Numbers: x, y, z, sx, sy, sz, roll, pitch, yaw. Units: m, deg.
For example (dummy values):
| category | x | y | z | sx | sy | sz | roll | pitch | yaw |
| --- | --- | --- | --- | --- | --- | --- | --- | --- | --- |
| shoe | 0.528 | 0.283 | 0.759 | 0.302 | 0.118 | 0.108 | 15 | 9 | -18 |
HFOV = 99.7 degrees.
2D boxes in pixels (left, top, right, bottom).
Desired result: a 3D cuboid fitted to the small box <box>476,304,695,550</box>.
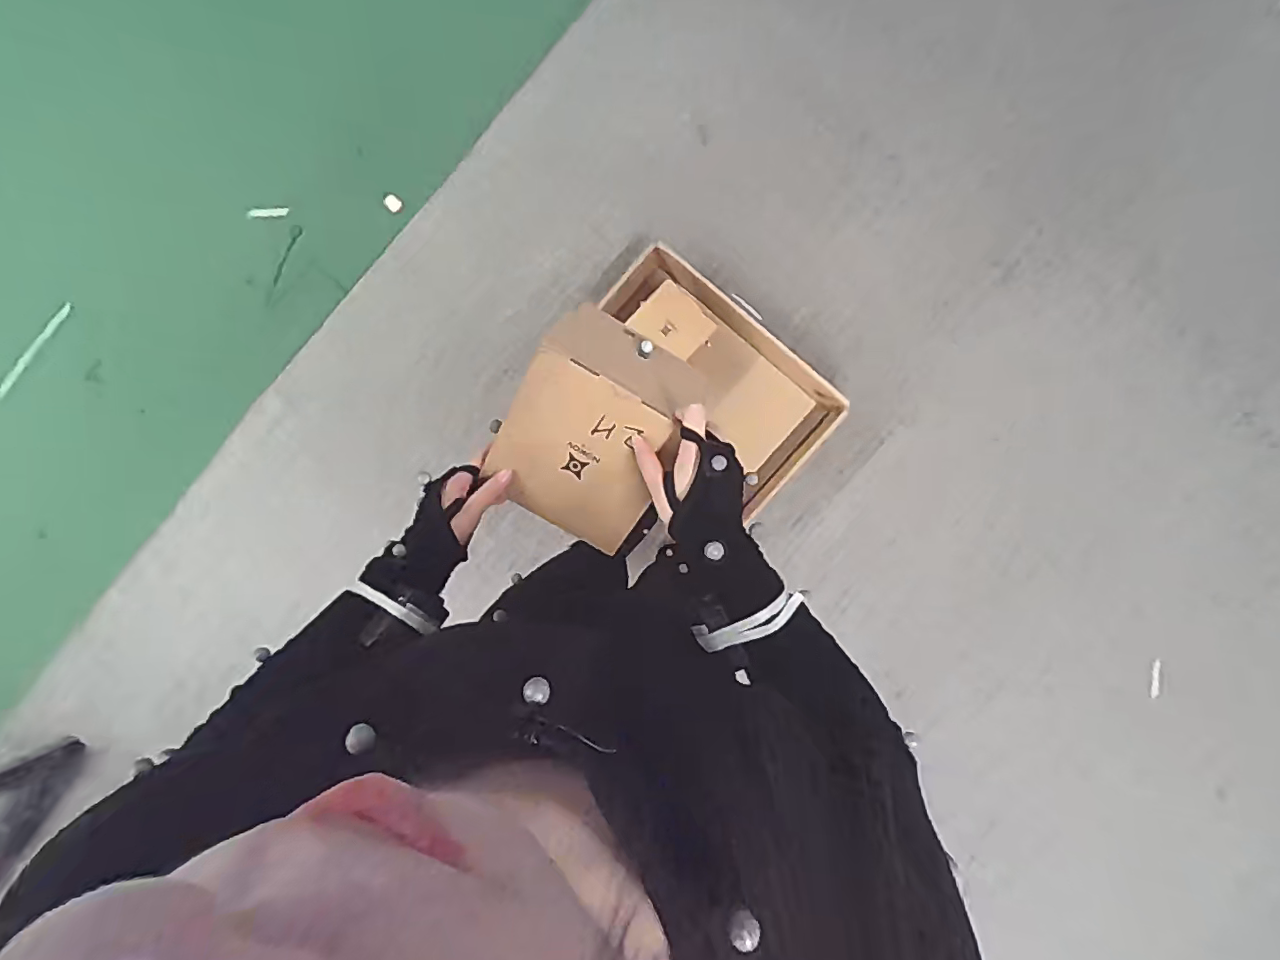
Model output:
| category | x | y | z | sx | sy | sz | roll | pitch | yaw |
| --- | --- | --- | --- | --- | --- | --- | --- | --- | --- |
| small box | -0.049 | -0.063 | 0.596 | 0.168 | 0.176 | 0.179 | 29 | 121 | -9 |

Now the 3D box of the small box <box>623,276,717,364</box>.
| category | x | y | z | sx | sy | sz | roll | pitch | yaw |
| --- | --- | --- | --- | --- | --- | --- | --- | --- | --- |
| small box | 0.071 | -0.360 | 1.340 | 0.179 | 0.176 | 0.168 | -44 | 88 | 4 |
